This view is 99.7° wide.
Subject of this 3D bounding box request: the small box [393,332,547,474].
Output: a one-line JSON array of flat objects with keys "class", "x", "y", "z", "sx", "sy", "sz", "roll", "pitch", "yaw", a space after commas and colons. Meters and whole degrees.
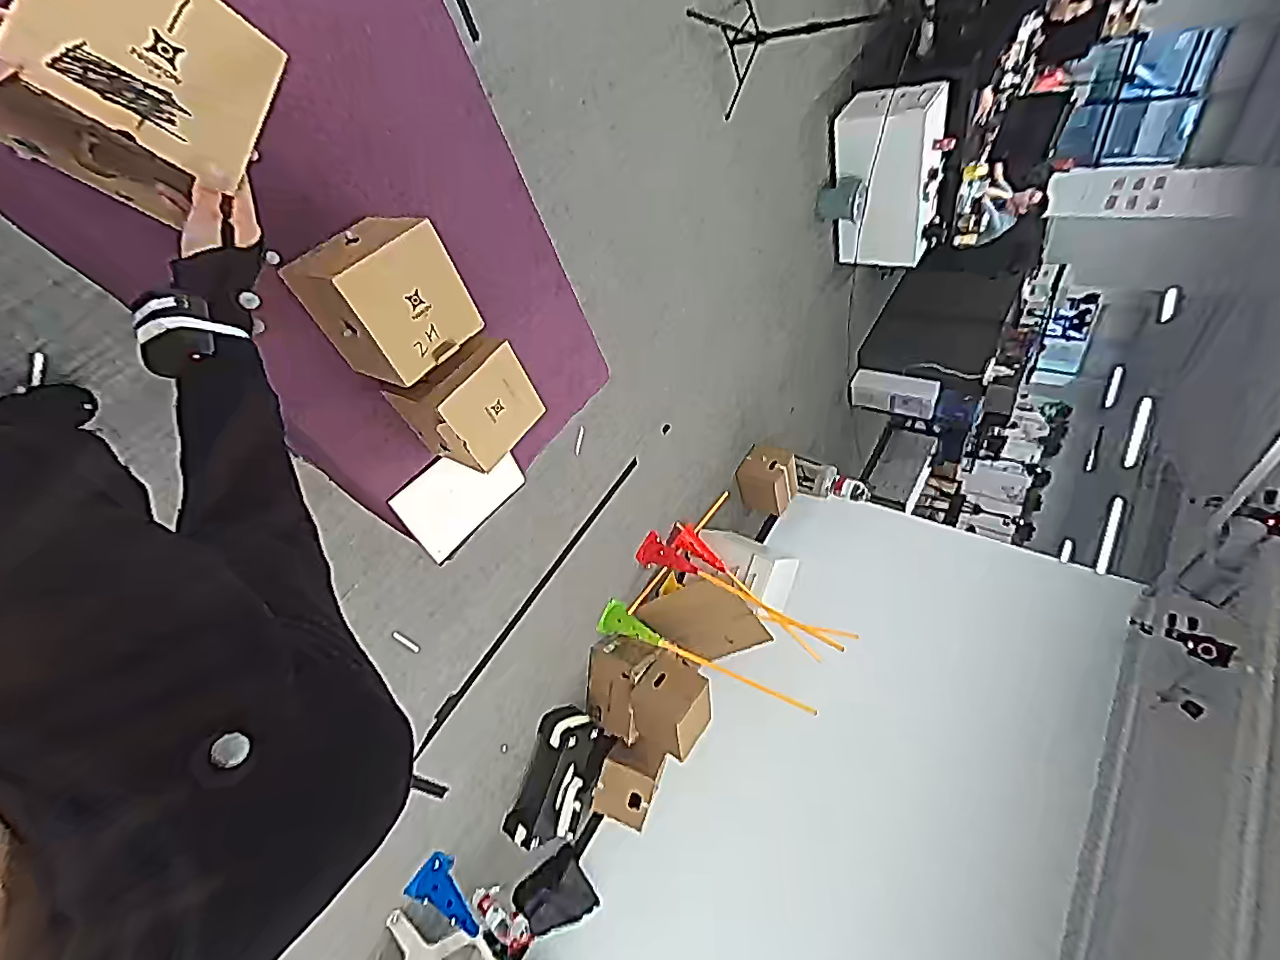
[{"class": "small box", "x": -0.308, "y": -0.143, "z": 0.967, "sx": 0.179, "sy": 0.176, "sz": 0.168, "roll": -53, "pitch": 143, "yaw": -25}]
